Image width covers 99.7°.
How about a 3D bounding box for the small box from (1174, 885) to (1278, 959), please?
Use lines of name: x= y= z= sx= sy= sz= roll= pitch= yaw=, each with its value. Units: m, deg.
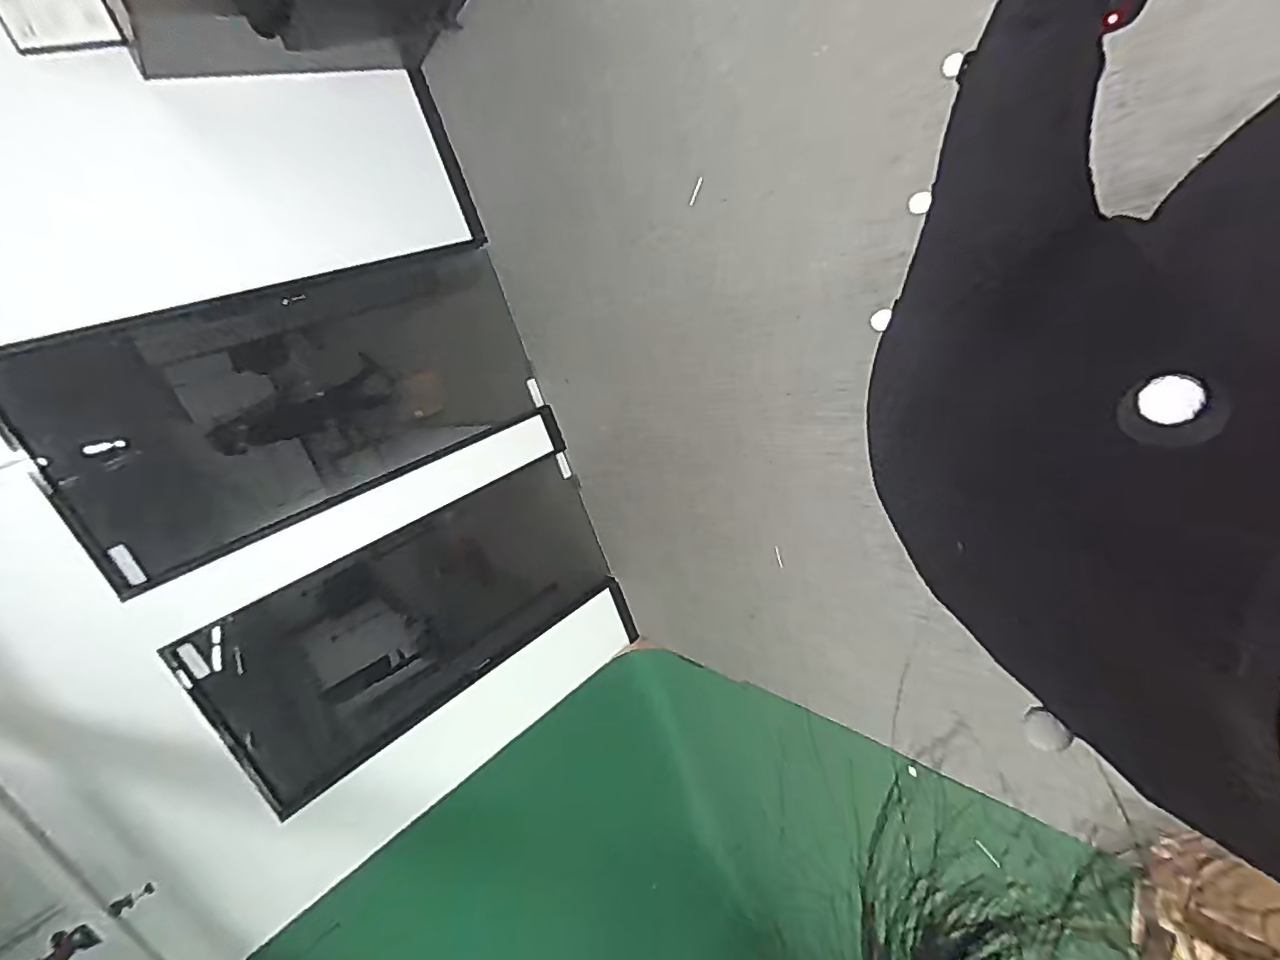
small box: x=1.538 y=1.230 z=1.422 sx=0.168 sy=0.176 sz=0.179 roll=11 pitch=123 yaw=49
